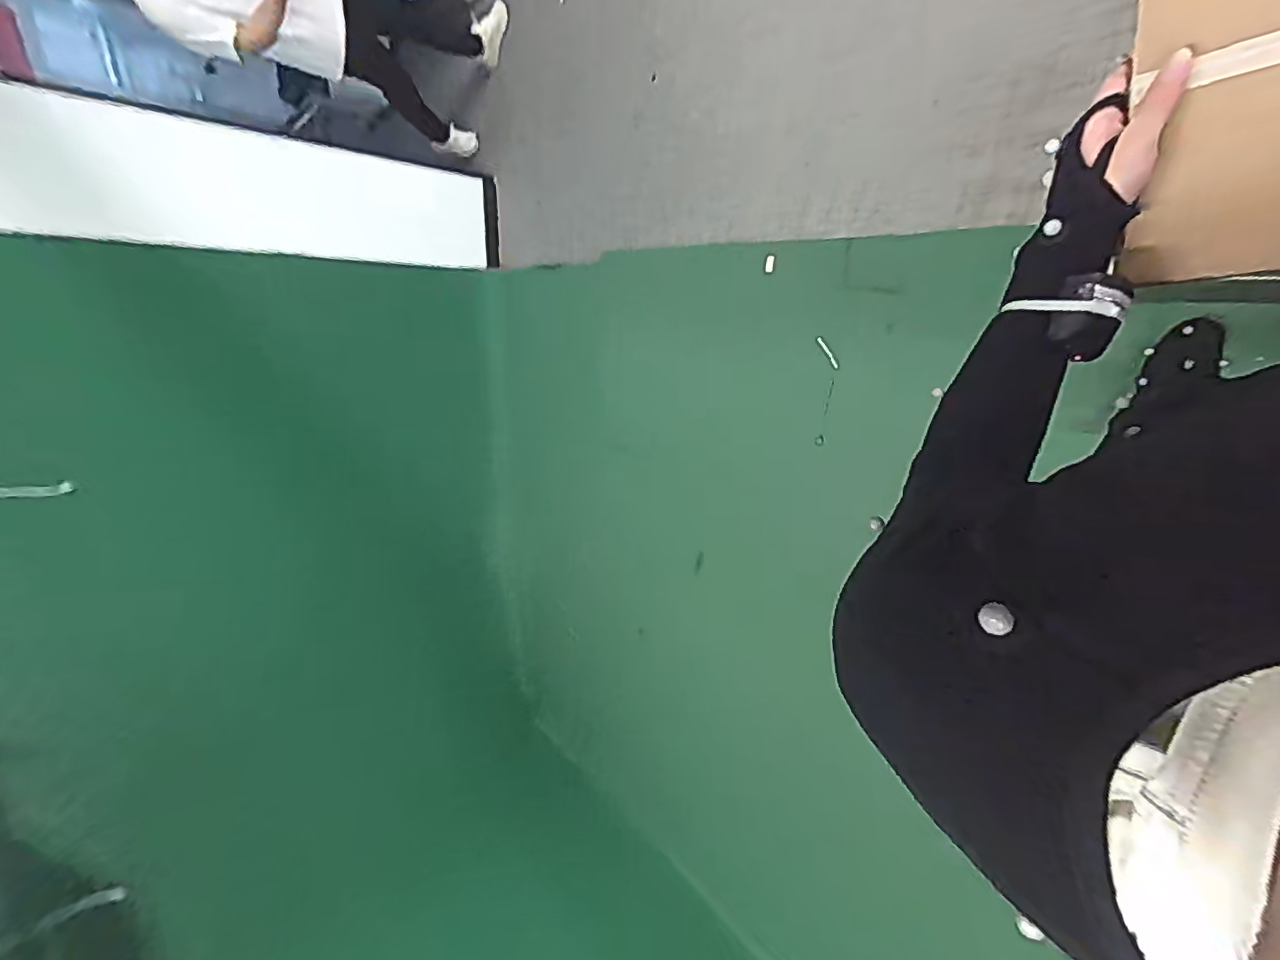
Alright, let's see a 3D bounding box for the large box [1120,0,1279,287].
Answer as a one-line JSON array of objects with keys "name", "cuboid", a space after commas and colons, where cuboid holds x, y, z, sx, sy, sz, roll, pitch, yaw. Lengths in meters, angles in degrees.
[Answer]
[{"name": "large box", "cuboid": [0.662, -0.342, 0.420, 0.408, 0.320, 0.320, 8, 110, 44]}]
